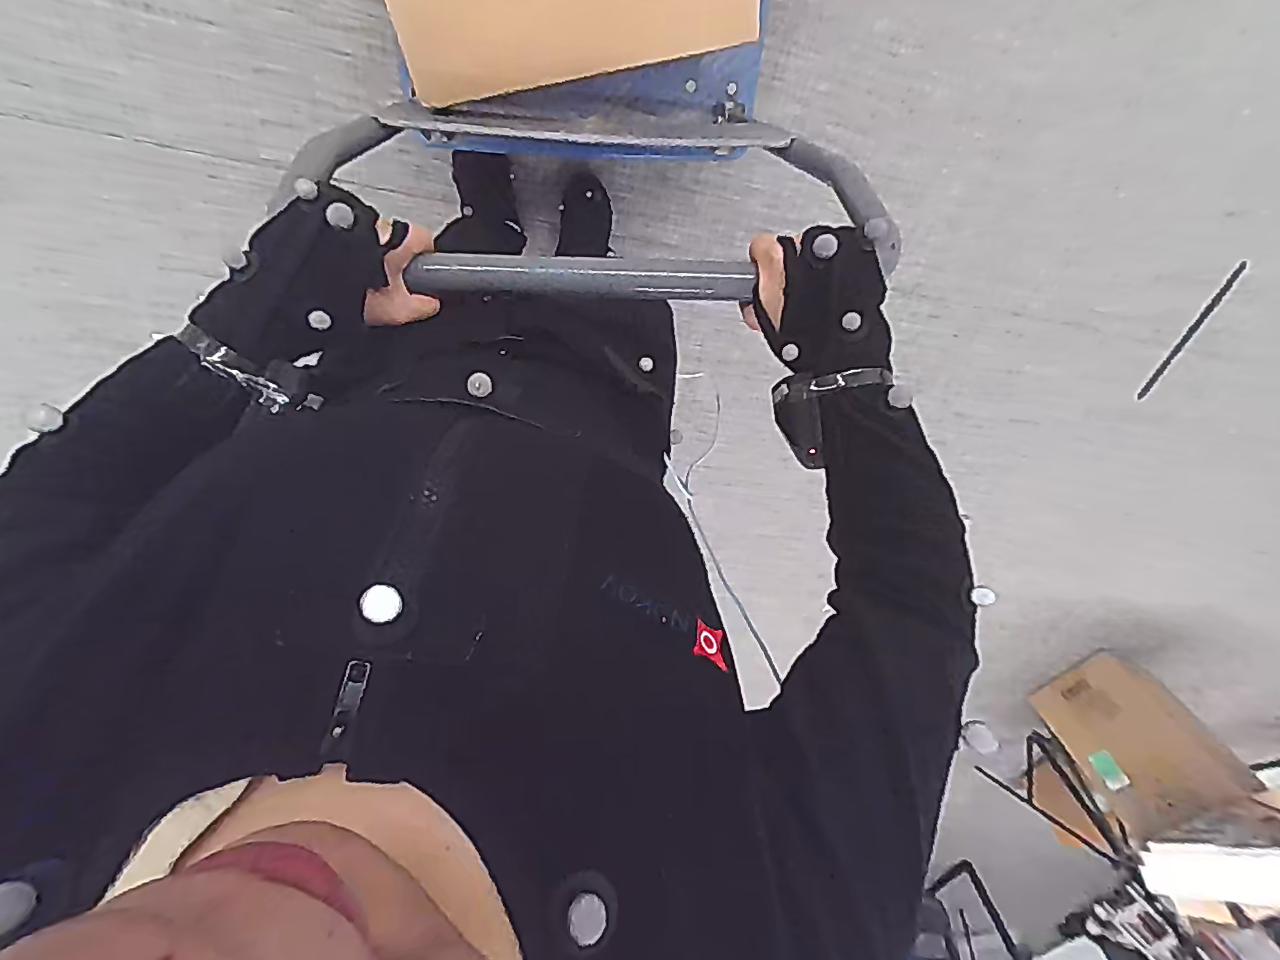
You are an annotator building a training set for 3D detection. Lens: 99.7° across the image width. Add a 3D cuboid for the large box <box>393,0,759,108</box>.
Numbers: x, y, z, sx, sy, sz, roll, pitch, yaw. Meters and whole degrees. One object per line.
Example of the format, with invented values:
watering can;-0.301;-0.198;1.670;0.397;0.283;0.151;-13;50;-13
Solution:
large box;-0.101;-0.684;0.662;0.408;0.320;0.320;-12;127;0
